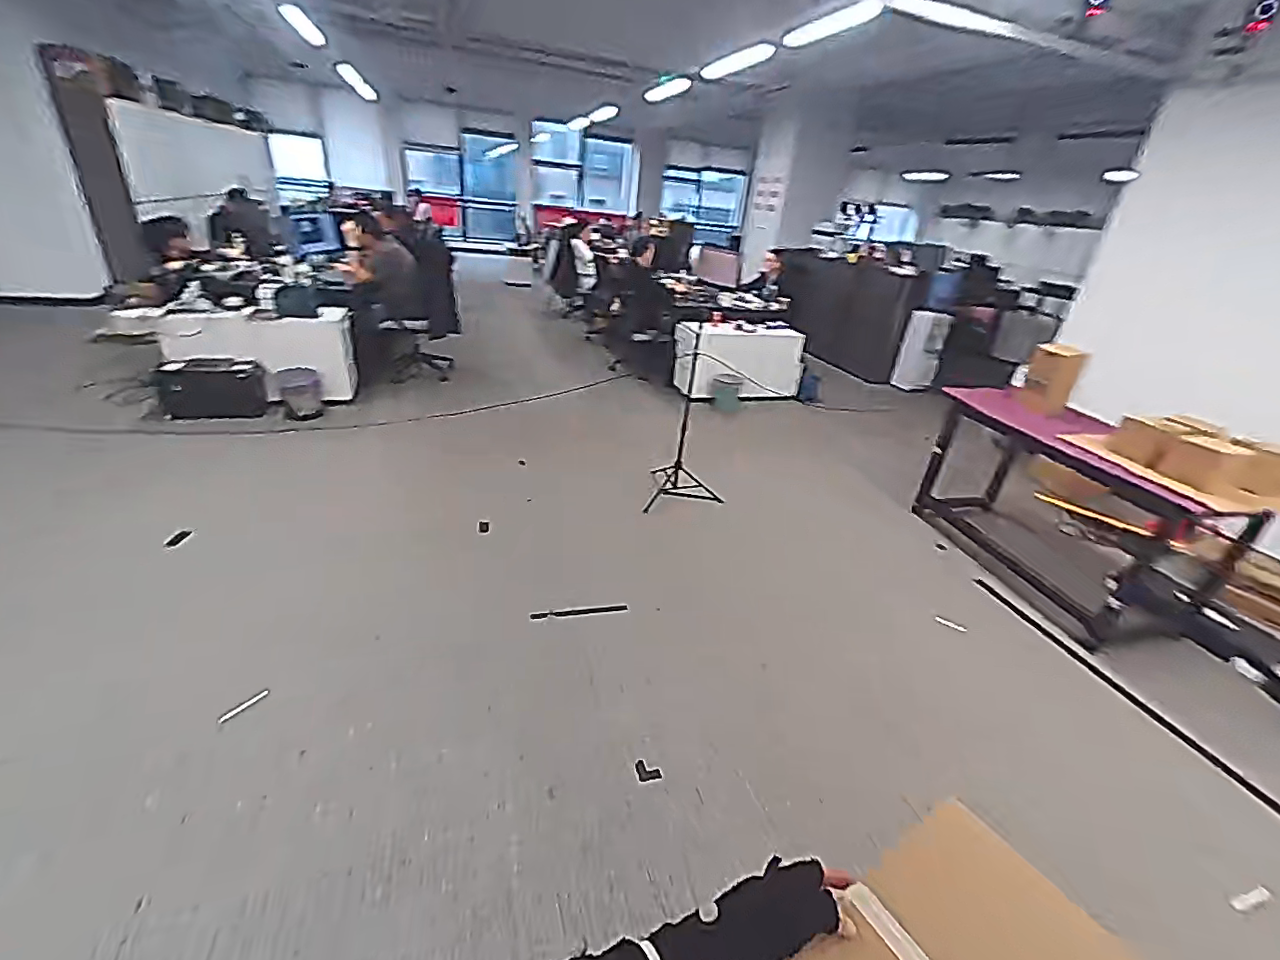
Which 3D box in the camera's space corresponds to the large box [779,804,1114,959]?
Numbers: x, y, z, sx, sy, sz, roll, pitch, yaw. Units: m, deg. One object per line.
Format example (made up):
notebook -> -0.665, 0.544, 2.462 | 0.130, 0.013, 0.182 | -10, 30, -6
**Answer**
large box -> 0.291, 0.589, 0.432 | 0.320, 0.320, 0.408 | -18, 37, -29
